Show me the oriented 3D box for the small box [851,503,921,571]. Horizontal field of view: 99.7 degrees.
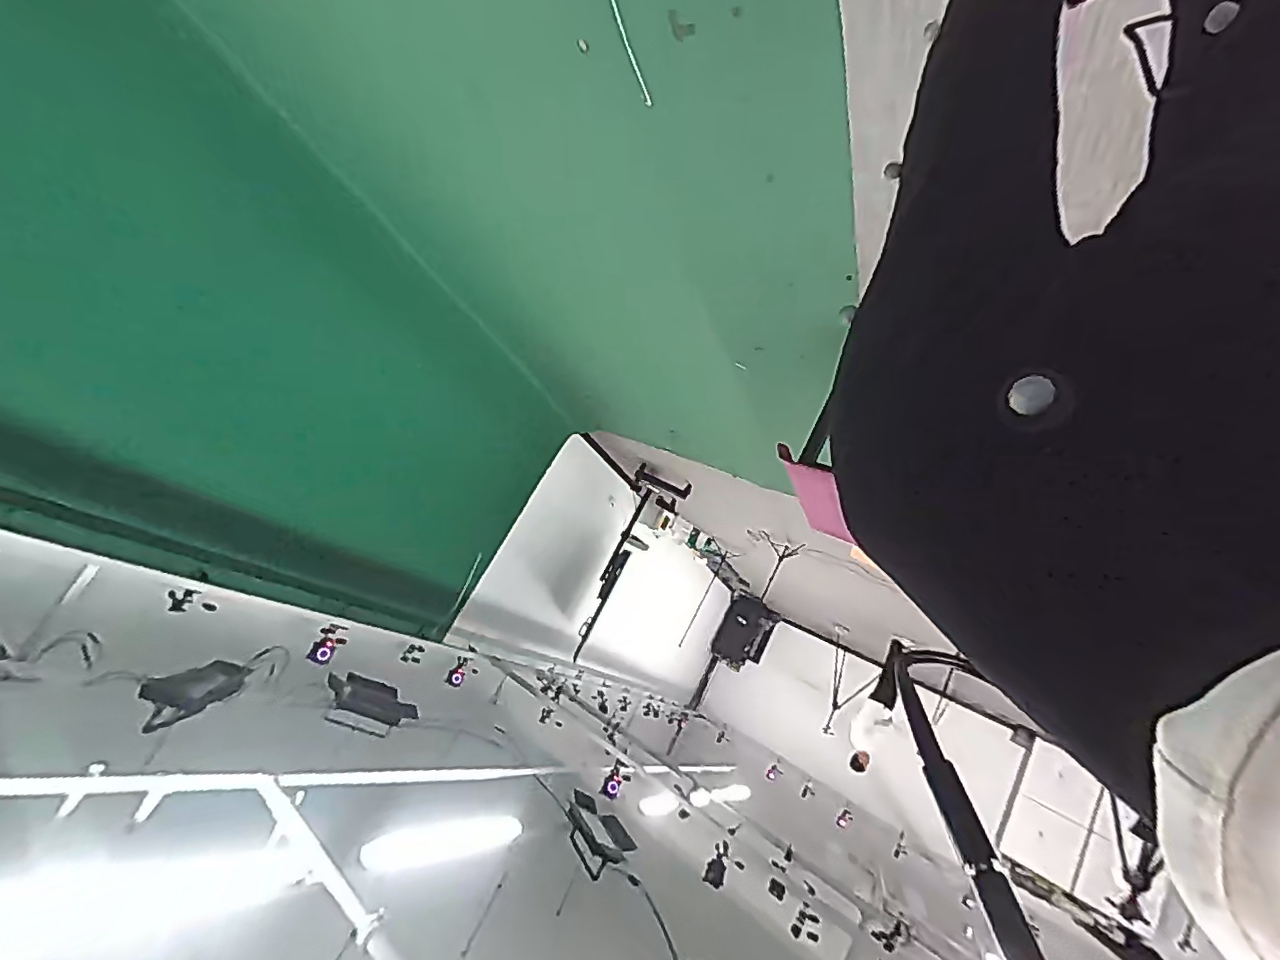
[{"bbox_3d":[0.885,0.202,1.944,0.179,0.176,0.168,23,167,23],"label":"small box"}]
